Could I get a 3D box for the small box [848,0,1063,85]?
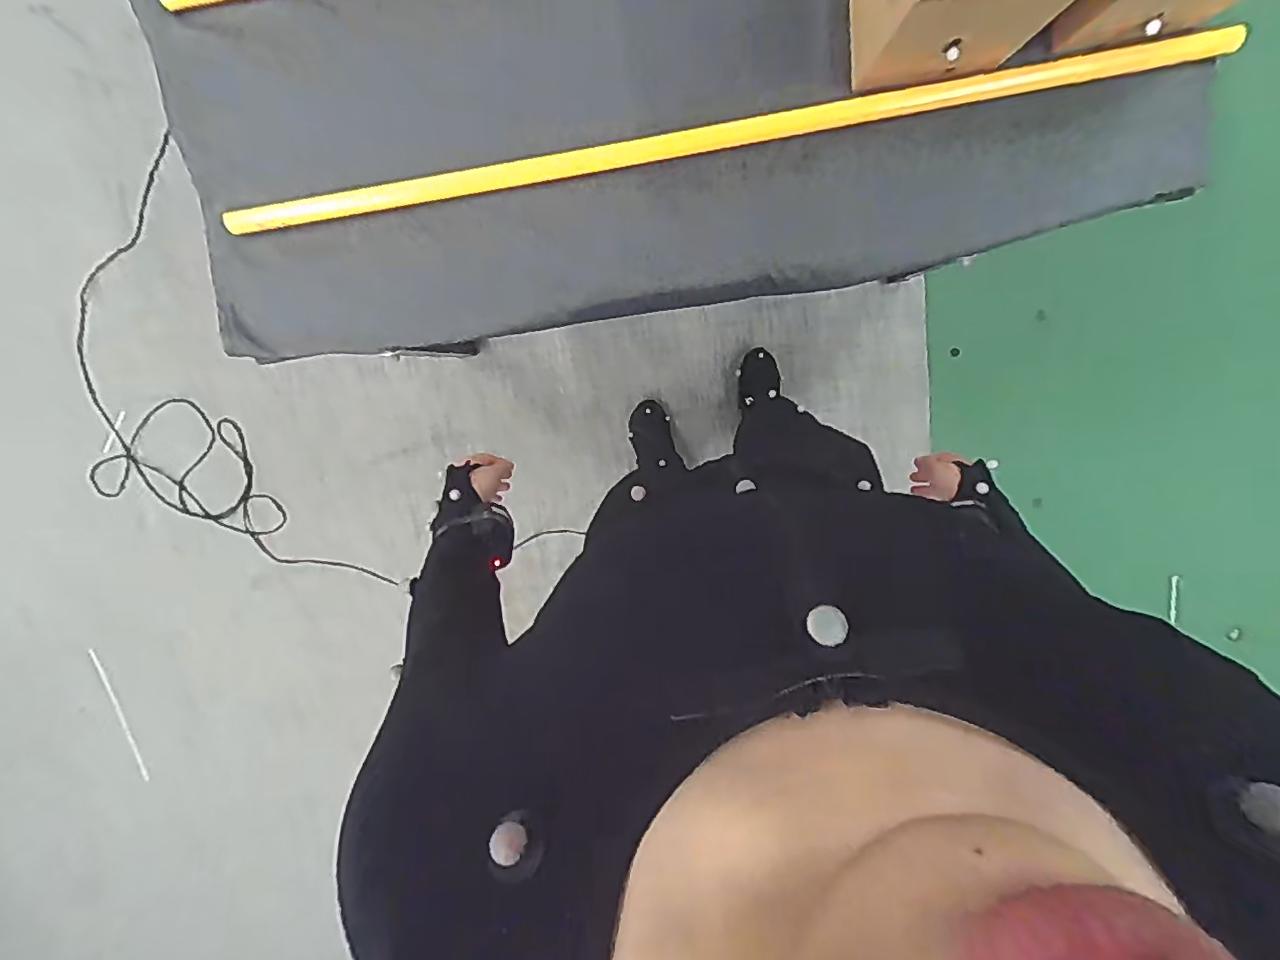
[{"bbox_3d":[0.318,-0.531,0.540,0.168,0.176,0.179,-6,101,2],"label":"small box"}]
